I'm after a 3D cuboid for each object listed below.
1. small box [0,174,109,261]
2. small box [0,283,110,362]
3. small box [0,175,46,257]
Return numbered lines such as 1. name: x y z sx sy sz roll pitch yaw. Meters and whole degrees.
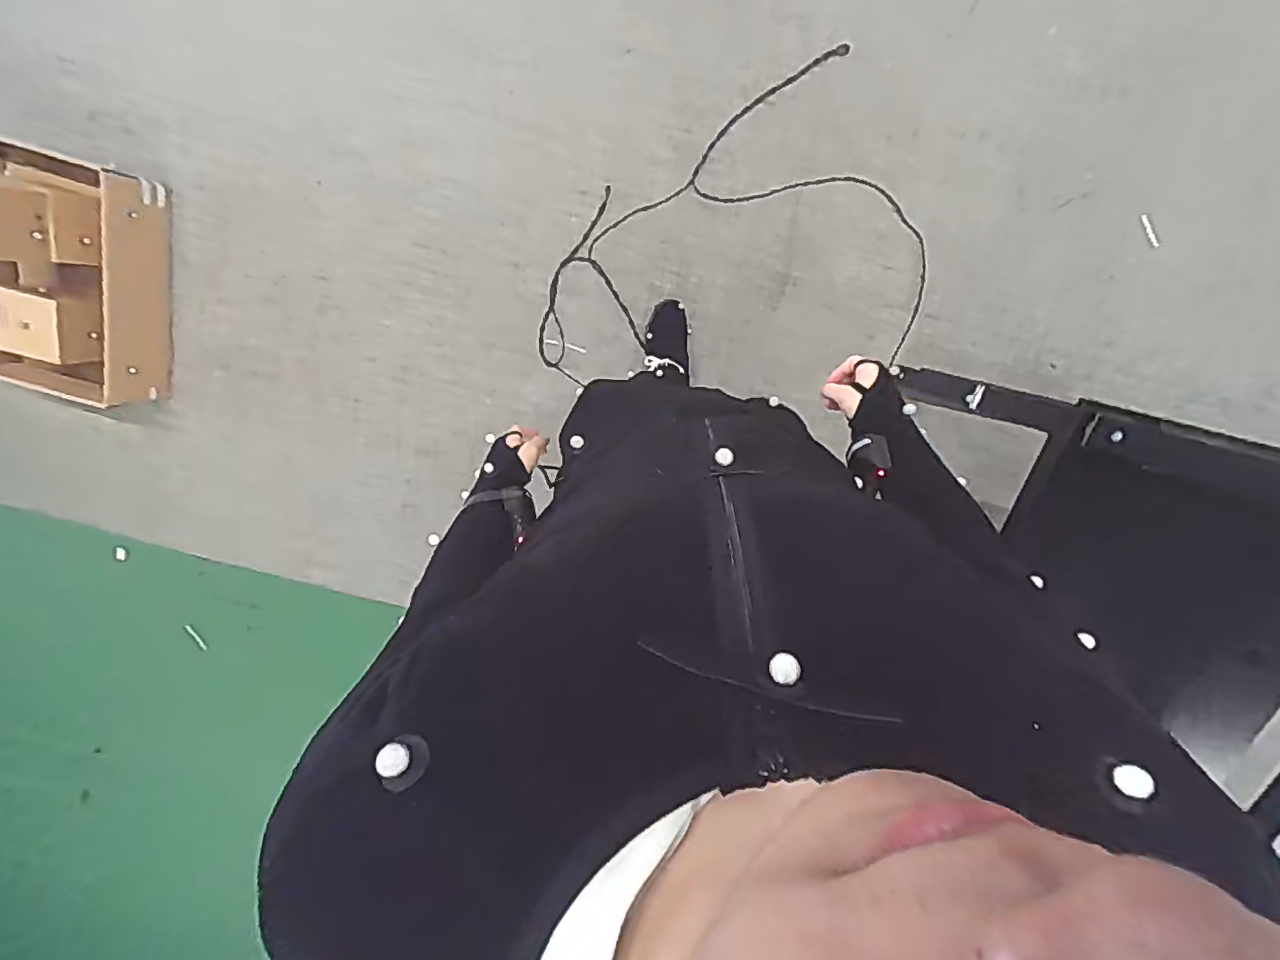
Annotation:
1. small box: -1.509 -0.665 1.376 0.179 0.176 0.168 15 108 -3
2. small box: -1.582 -0.427 1.453 0.179 0.176 0.168 15 107 -3
3. small box: -1.519 -0.613 1.221 0.179 0.176 0.168 17 110 -4
